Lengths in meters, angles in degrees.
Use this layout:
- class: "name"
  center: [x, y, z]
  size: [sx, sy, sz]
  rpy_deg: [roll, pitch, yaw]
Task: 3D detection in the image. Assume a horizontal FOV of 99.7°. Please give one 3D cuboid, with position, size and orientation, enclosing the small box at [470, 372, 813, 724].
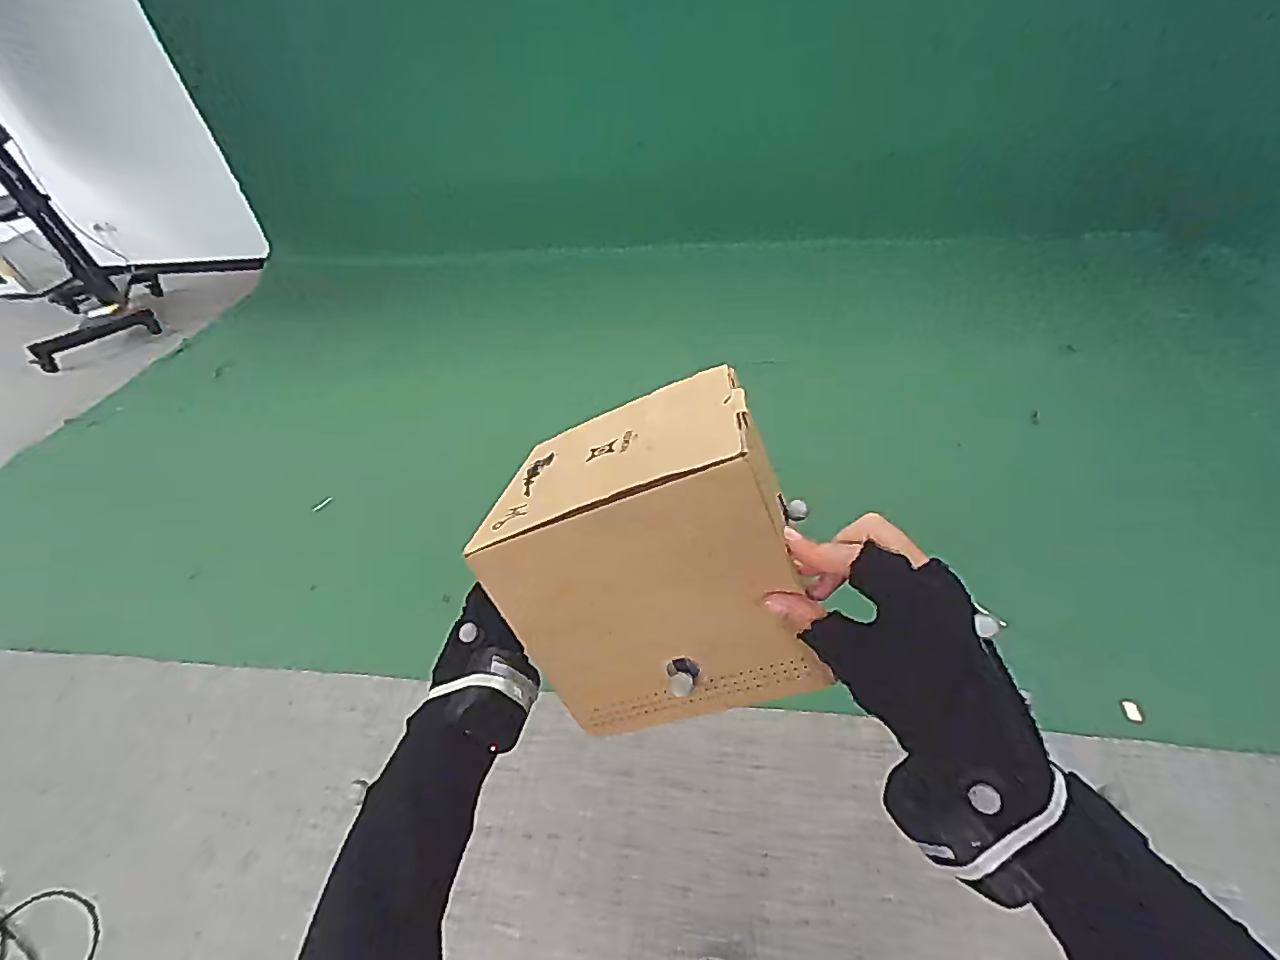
- class: "small box"
  center: [0.017, 0.048, 0.401]
  size: [0.179, 0.176, 0.168]
  rpy_deg: [-20, 23, 16]
